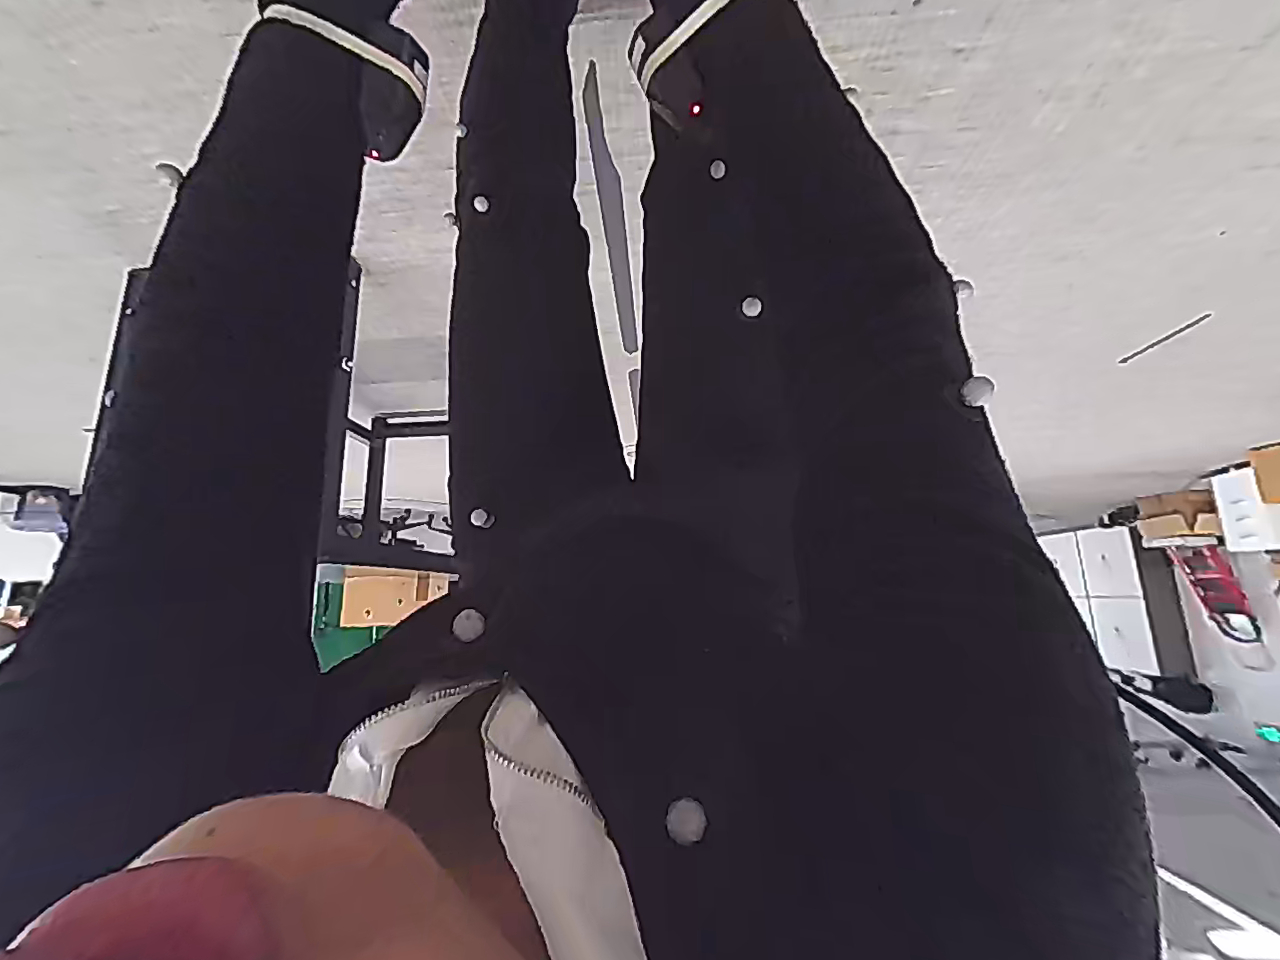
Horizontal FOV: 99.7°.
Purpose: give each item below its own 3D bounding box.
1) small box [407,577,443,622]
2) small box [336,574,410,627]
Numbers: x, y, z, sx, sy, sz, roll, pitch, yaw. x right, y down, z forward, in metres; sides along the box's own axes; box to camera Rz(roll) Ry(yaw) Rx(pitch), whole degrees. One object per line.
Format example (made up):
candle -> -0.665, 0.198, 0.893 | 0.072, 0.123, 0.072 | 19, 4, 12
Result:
small box -> -0.888, 0.469, 2.111 | 0.168, 0.176, 0.179 | -2, 167, 4
small box -> -0.909, 0.411, 1.856 | 0.179, 0.176, 0.168 | -1, 167, 3
